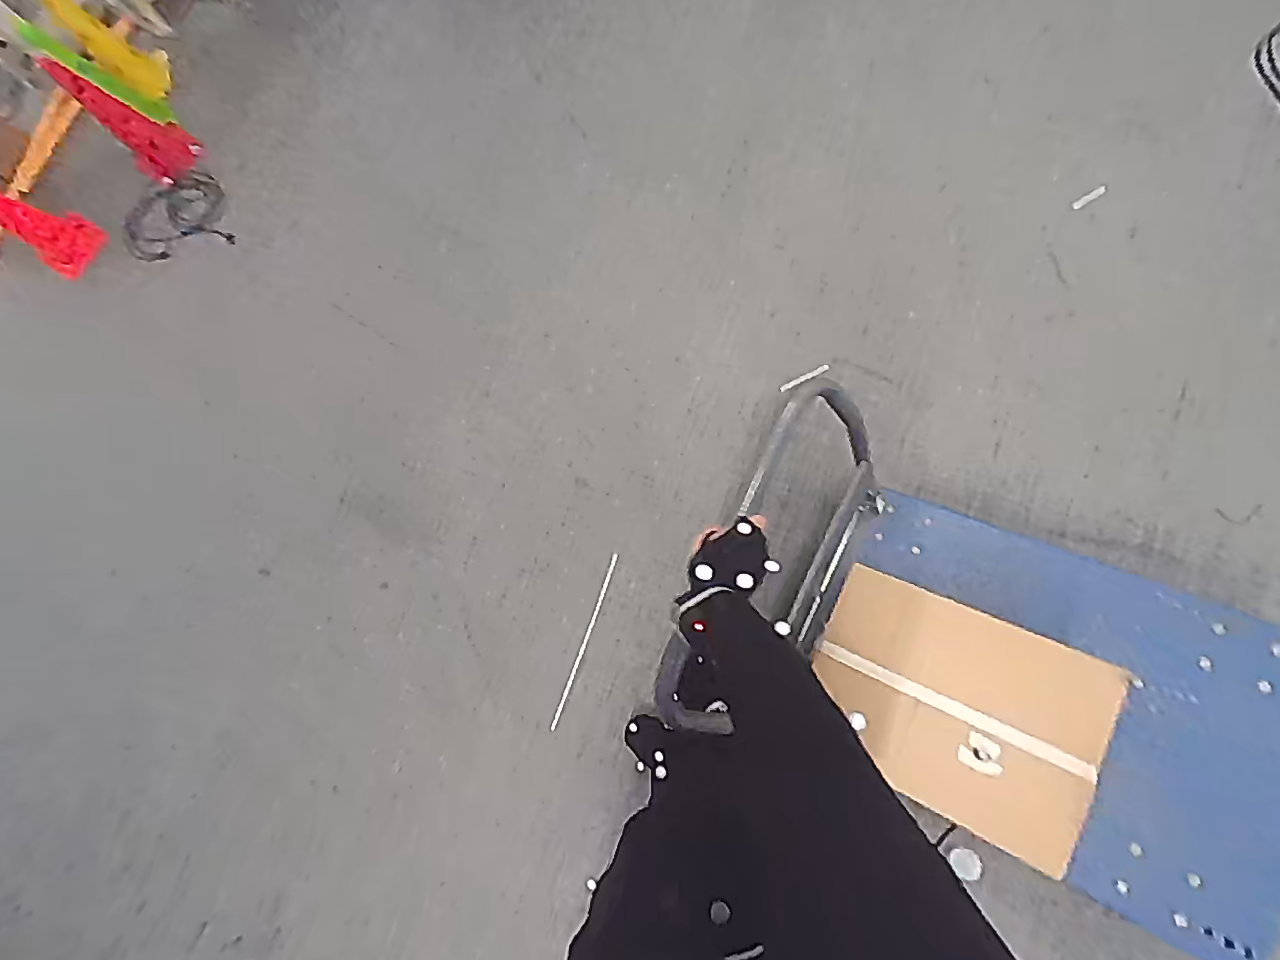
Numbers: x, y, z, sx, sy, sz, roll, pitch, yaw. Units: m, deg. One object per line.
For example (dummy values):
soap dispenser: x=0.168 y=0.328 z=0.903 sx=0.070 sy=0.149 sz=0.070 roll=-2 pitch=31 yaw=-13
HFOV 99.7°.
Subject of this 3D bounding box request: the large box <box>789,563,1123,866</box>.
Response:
large box: x=0.530 y=0.383 z=0.989 sx=0.408 sy=0.320 sz=0.320 roll=21 pitch=84 yaw=25
